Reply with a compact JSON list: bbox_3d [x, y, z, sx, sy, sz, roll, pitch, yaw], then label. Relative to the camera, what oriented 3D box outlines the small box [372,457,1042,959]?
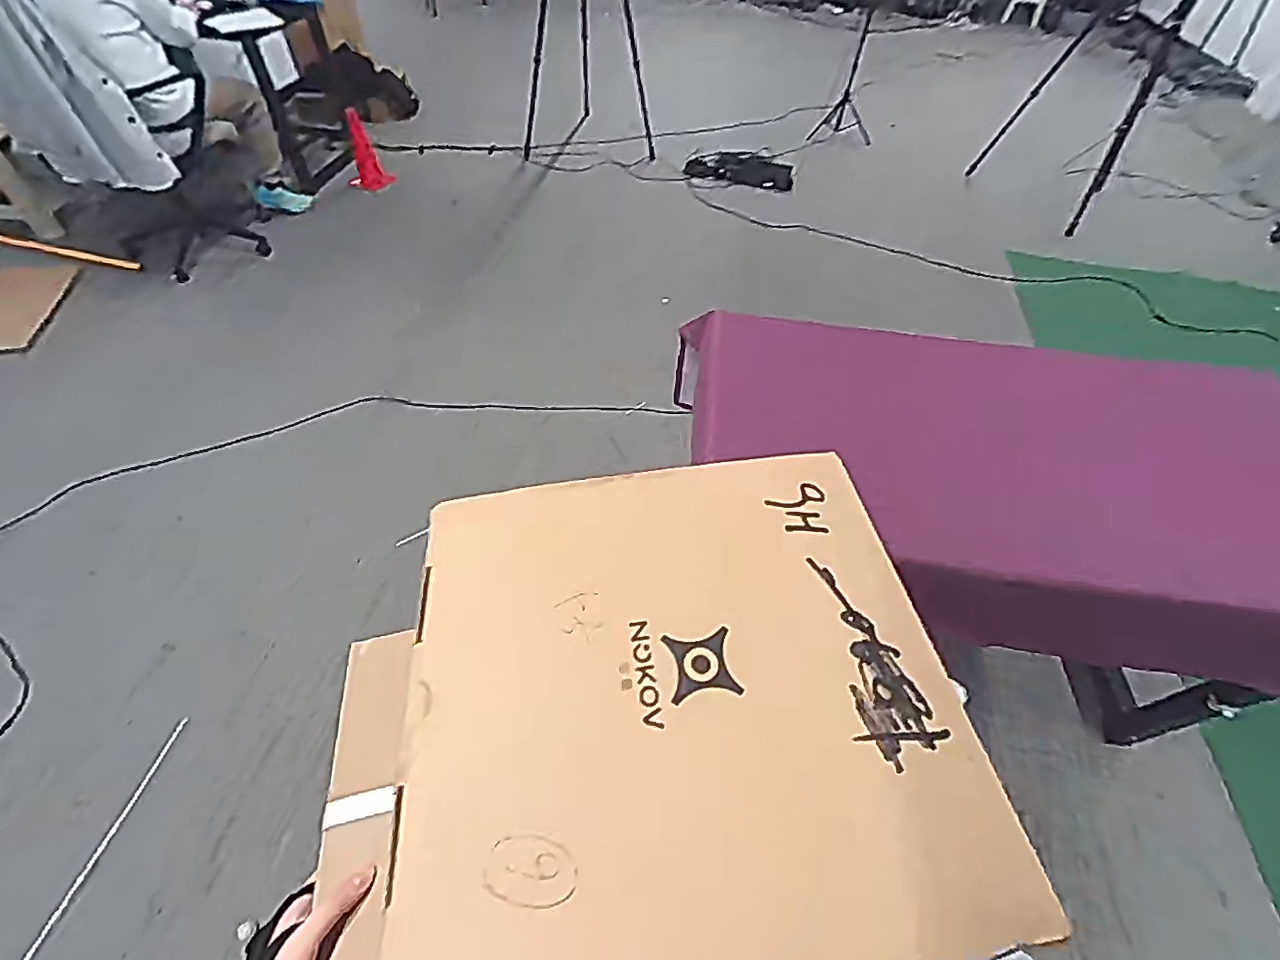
[{"bbox_3d":[0.012,0.114,0.244,0.179,0.176,0.168,-8,53,-3],"label":"small box"}]
